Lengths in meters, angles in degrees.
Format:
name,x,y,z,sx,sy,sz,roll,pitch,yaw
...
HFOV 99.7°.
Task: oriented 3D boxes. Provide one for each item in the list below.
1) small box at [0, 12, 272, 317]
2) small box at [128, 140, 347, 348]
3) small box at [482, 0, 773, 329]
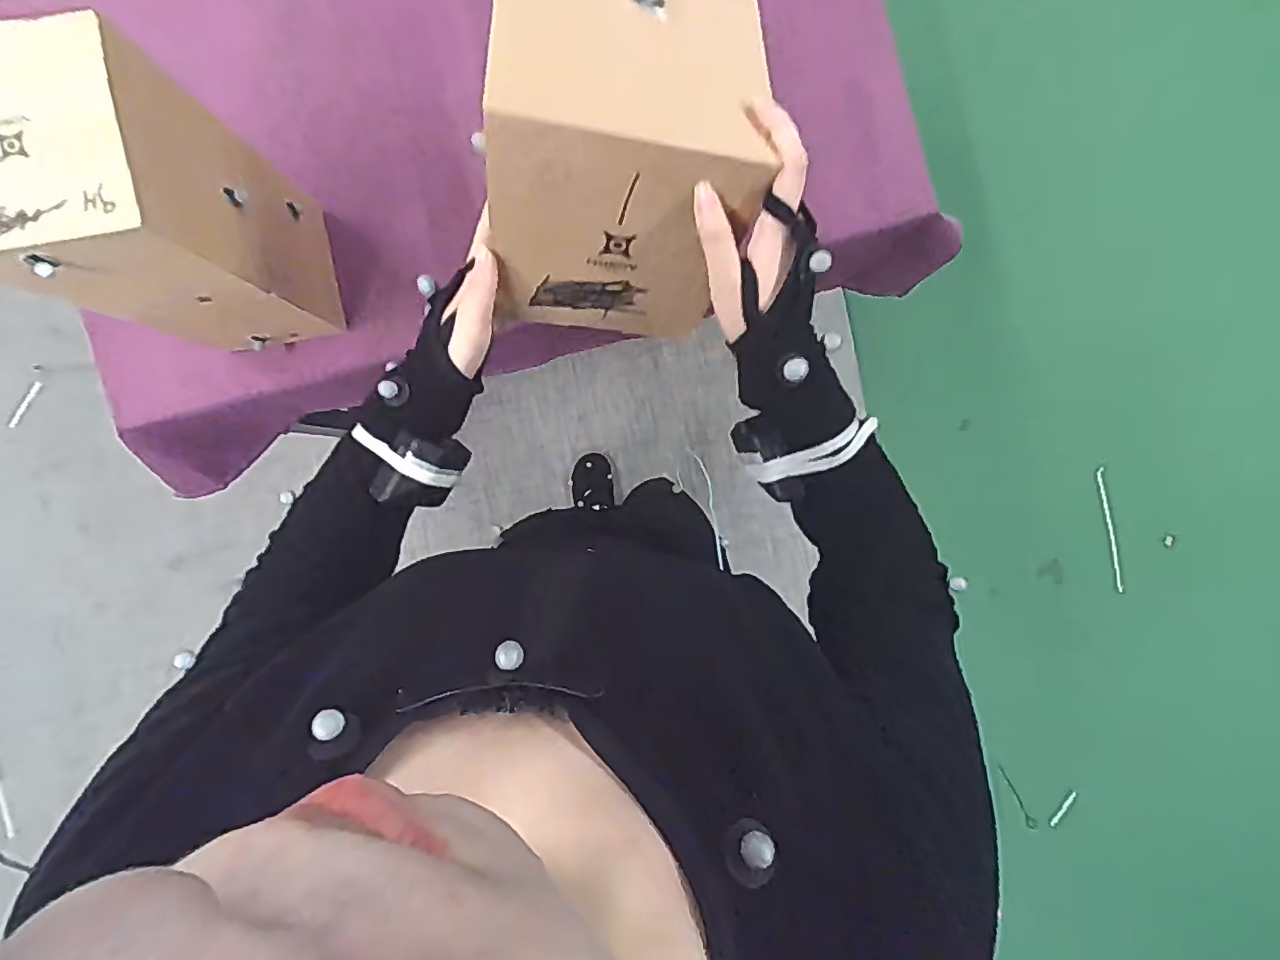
name,x,y,z,sx,sy,sz,roll,pitch,yaw
small box,-0.489,-0.274,0.507,0.168,0.176,0.179,-11,91,-1
small box,-0.497,-0.278,0.671,0.168,0.176,0.179,-10,92,-2
small box,-0.022,-0.239,0.393,0.168,0.179,0.176,3,68,-13
